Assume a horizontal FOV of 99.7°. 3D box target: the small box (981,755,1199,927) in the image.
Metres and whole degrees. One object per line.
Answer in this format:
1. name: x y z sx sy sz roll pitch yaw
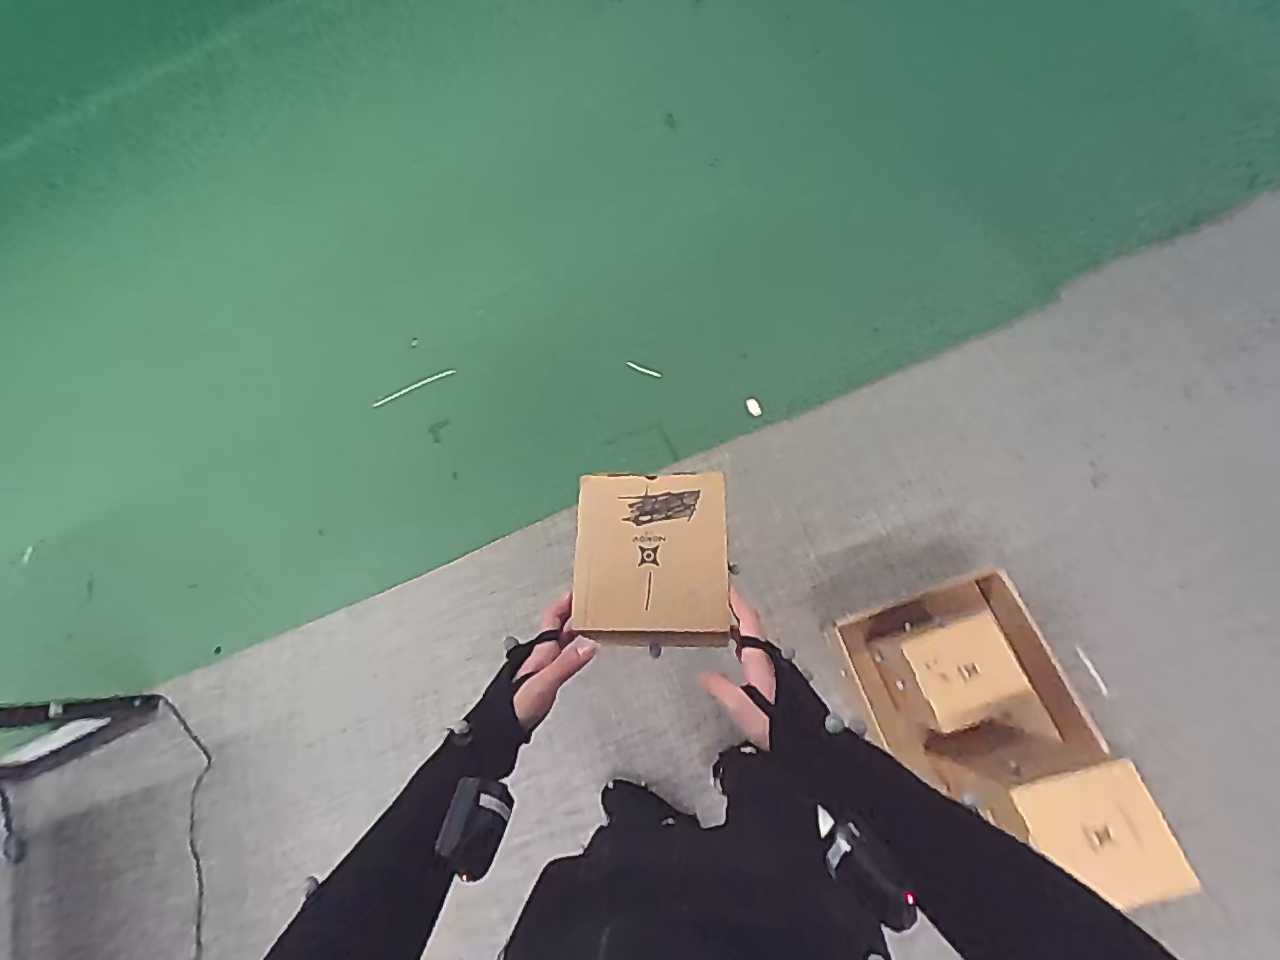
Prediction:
1. small box: 0.658 0.538 0.828 0.179 0.176 0.168 -18 68 6

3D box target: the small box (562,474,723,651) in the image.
1. small box: 0.014 0.104 0.650 0.168 0.176 0.179 -1 68 8

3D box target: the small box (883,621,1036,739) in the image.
1. small box: 0.609 0.384 1.058 0.179 0.176 0.168 -21 70 4
